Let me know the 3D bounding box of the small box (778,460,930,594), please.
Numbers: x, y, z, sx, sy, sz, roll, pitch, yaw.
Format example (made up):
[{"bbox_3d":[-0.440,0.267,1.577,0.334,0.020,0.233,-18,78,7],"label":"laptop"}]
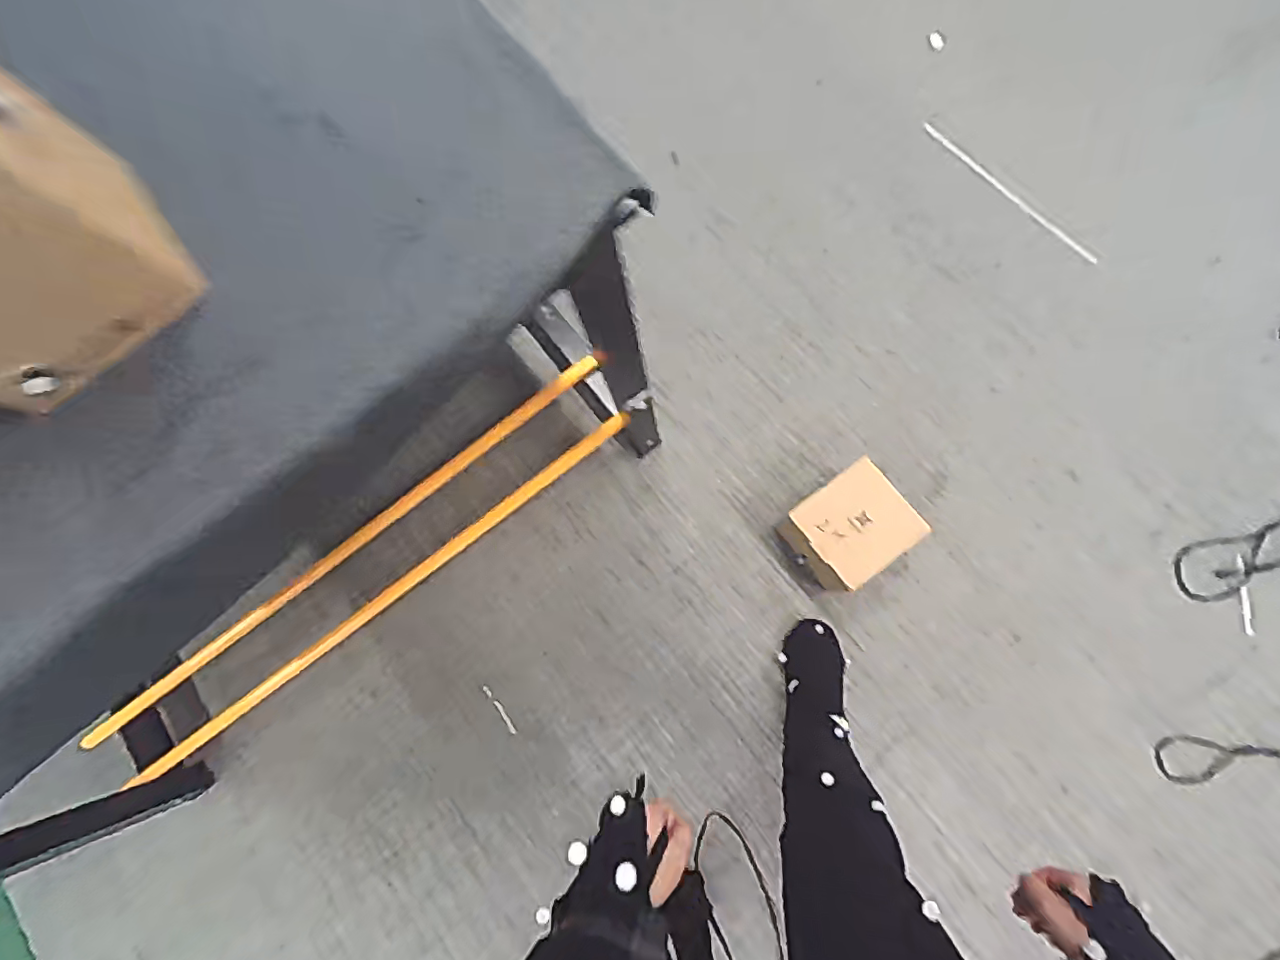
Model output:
[{"bbox_3d":[0.379,0.093,0.995,0.179,0.176,0.168,-37,76,-3],"label":"small box"}]
